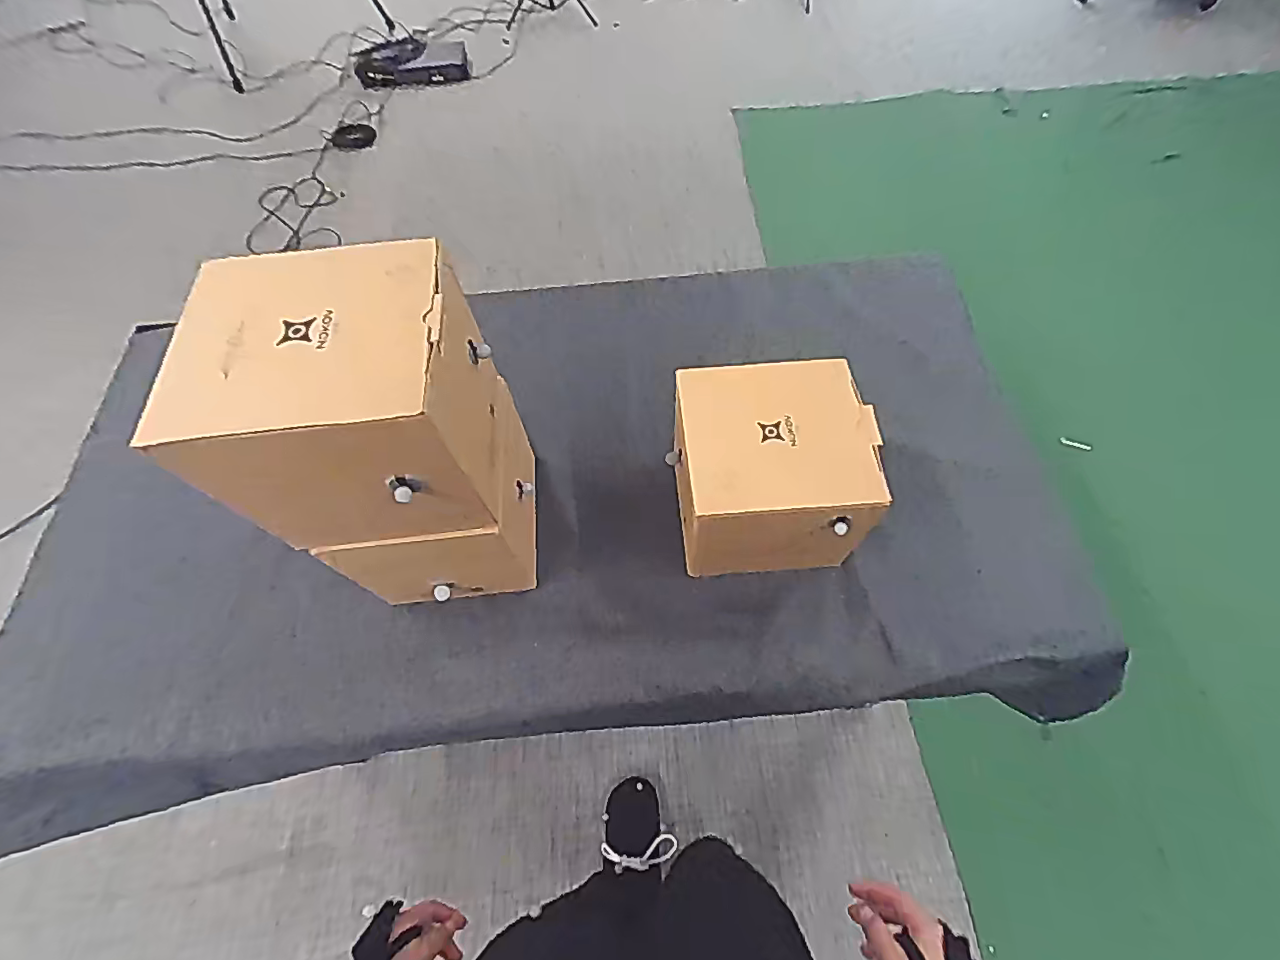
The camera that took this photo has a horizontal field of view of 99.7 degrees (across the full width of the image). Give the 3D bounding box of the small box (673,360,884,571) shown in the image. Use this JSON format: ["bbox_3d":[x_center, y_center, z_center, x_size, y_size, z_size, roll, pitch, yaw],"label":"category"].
[{"bbox_3d":[0.128,-0.008,0.586,0.179,0.176,0.168,-4,61,-1],"label":"small box"}]

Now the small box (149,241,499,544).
[{"bbox_3d":[-0.219,-0.060,0.438,0.179,0.176,0.168,-7,61,-1],"label":"small box"}]

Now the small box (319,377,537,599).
[{"bbox_3d":[-0.208,0.015,0.581,0.168,0.176,0.179,-6,62,-1],"label":"small box"}]
